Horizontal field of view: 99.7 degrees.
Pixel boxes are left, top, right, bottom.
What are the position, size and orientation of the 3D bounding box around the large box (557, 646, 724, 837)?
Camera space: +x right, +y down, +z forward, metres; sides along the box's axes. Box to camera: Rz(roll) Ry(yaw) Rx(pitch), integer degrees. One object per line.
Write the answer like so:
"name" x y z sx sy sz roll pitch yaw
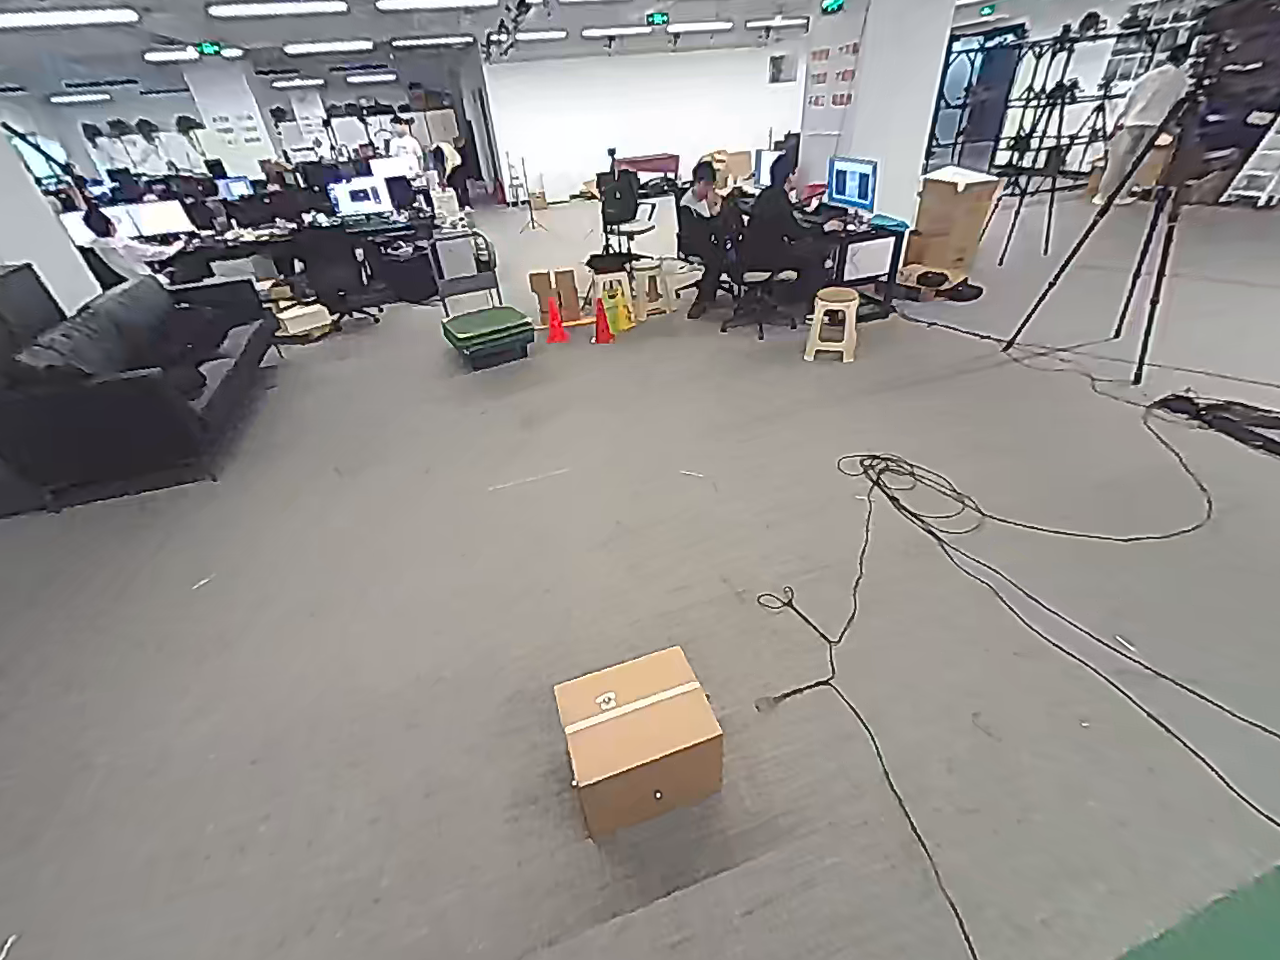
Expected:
"large box" 0.003 0.768 1.610 0.408 0.320 0.320 -16 35 -13
